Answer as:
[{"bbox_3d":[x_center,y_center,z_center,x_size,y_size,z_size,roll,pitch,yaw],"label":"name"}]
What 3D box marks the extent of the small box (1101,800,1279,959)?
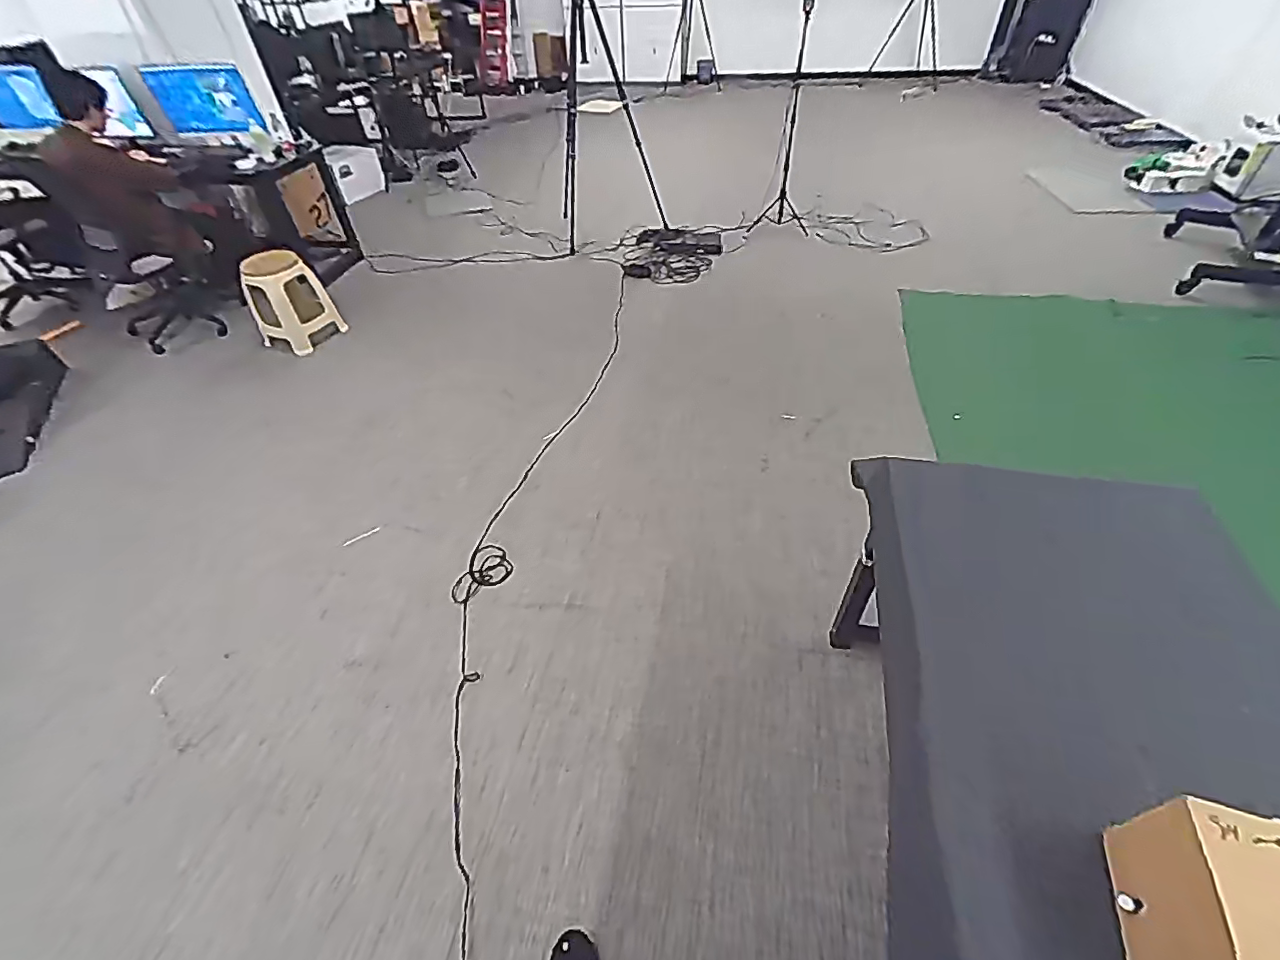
[{"bbox_3d":[0.644,0.485,0.577,0.168,0.176,0.179,13,48,16],"label":"small box"}]
